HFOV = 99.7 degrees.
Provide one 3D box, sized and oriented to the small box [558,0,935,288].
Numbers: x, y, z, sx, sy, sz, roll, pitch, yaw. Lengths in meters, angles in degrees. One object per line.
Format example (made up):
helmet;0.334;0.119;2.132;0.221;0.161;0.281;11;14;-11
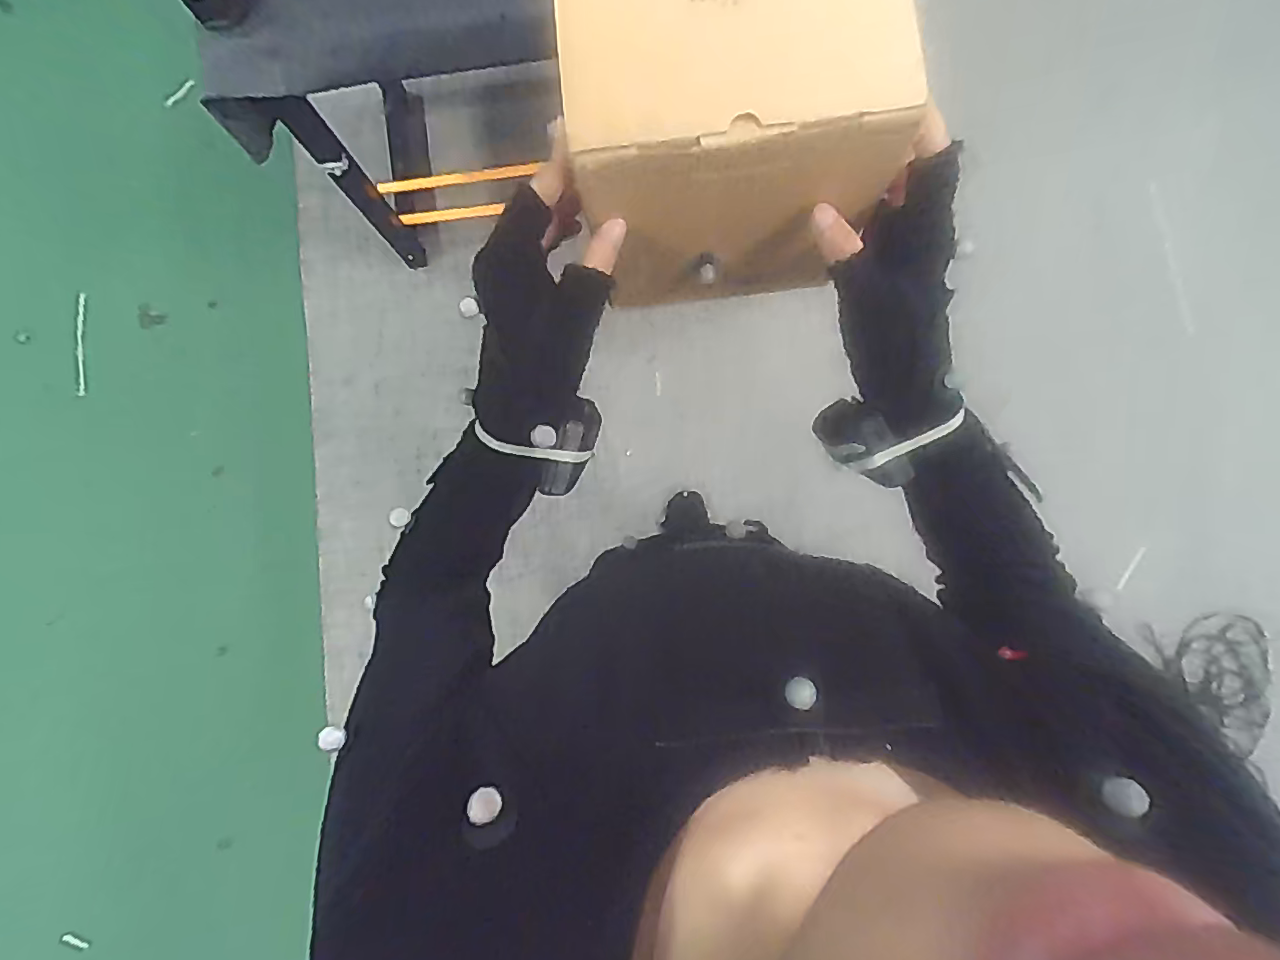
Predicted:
small box;0.045;-0.243;0.328;0.168;0.176;0.179;-6;84;3
